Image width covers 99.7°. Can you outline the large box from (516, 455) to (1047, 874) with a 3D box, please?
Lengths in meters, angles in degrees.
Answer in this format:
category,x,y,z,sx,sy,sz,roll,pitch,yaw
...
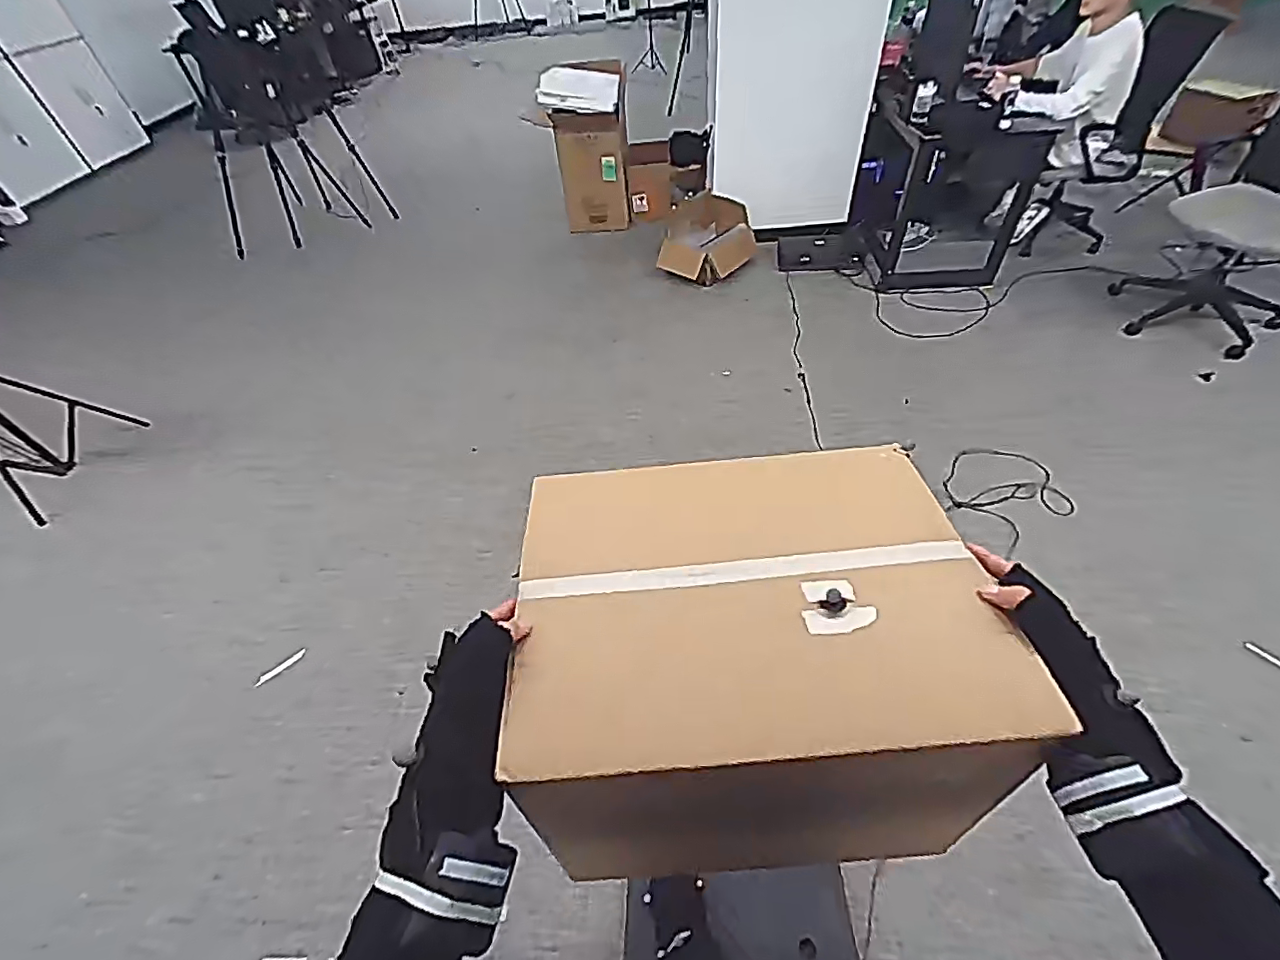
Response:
category,x,y,z,sx,sy,sz,roll,pitch,yaw
large box,0.105,0.202,0.604,0.408,0.320,0.320,-5,43,1
